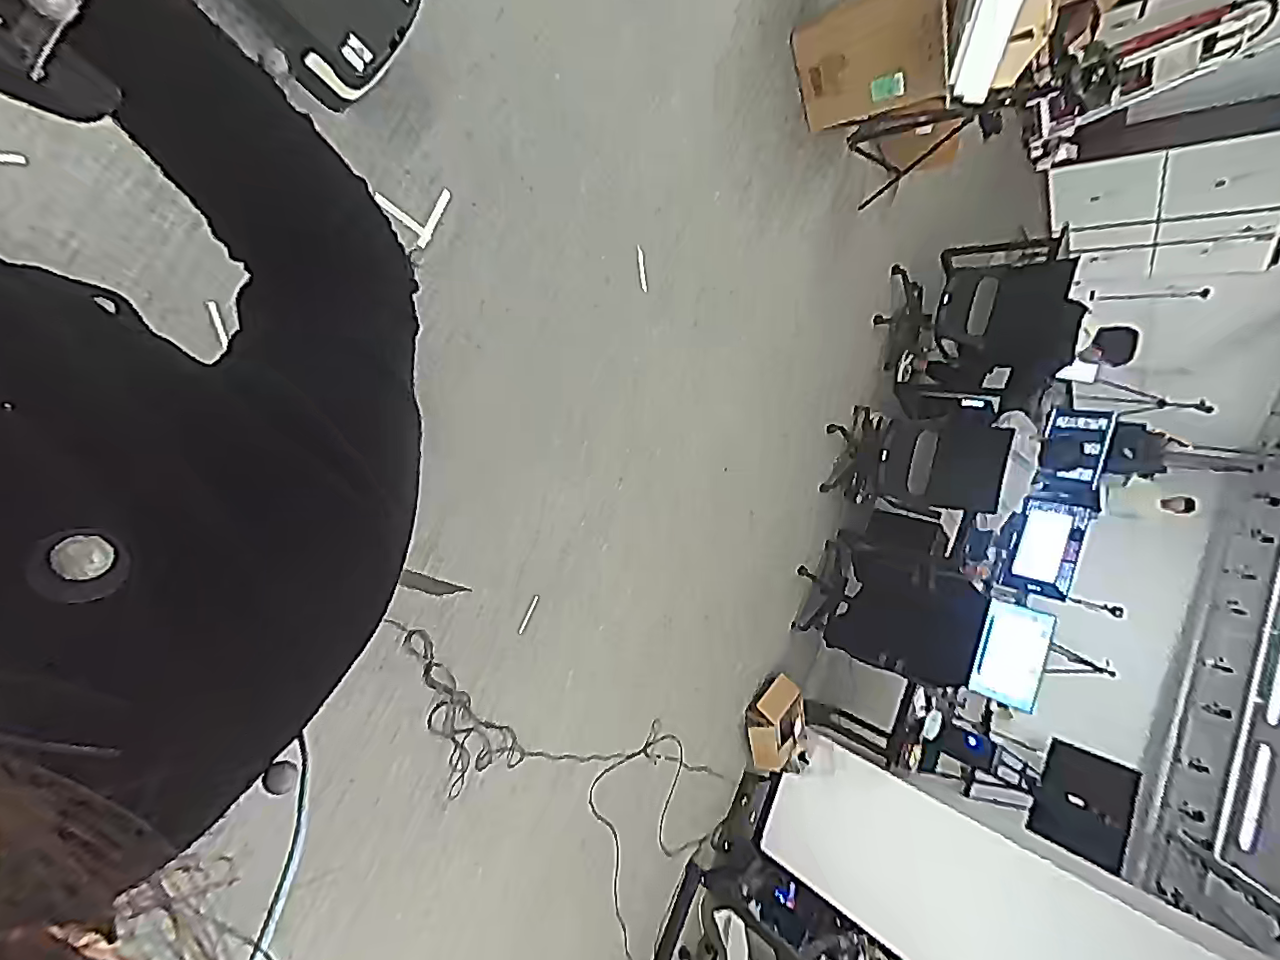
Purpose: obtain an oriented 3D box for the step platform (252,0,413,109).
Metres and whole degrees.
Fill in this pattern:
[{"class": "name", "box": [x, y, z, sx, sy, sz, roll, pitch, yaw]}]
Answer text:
[{"class": "step platform", "box": [-0.767, -1.082, 0.964, 0.684, 0.204, 0.286, 41, 71, -42]}]
